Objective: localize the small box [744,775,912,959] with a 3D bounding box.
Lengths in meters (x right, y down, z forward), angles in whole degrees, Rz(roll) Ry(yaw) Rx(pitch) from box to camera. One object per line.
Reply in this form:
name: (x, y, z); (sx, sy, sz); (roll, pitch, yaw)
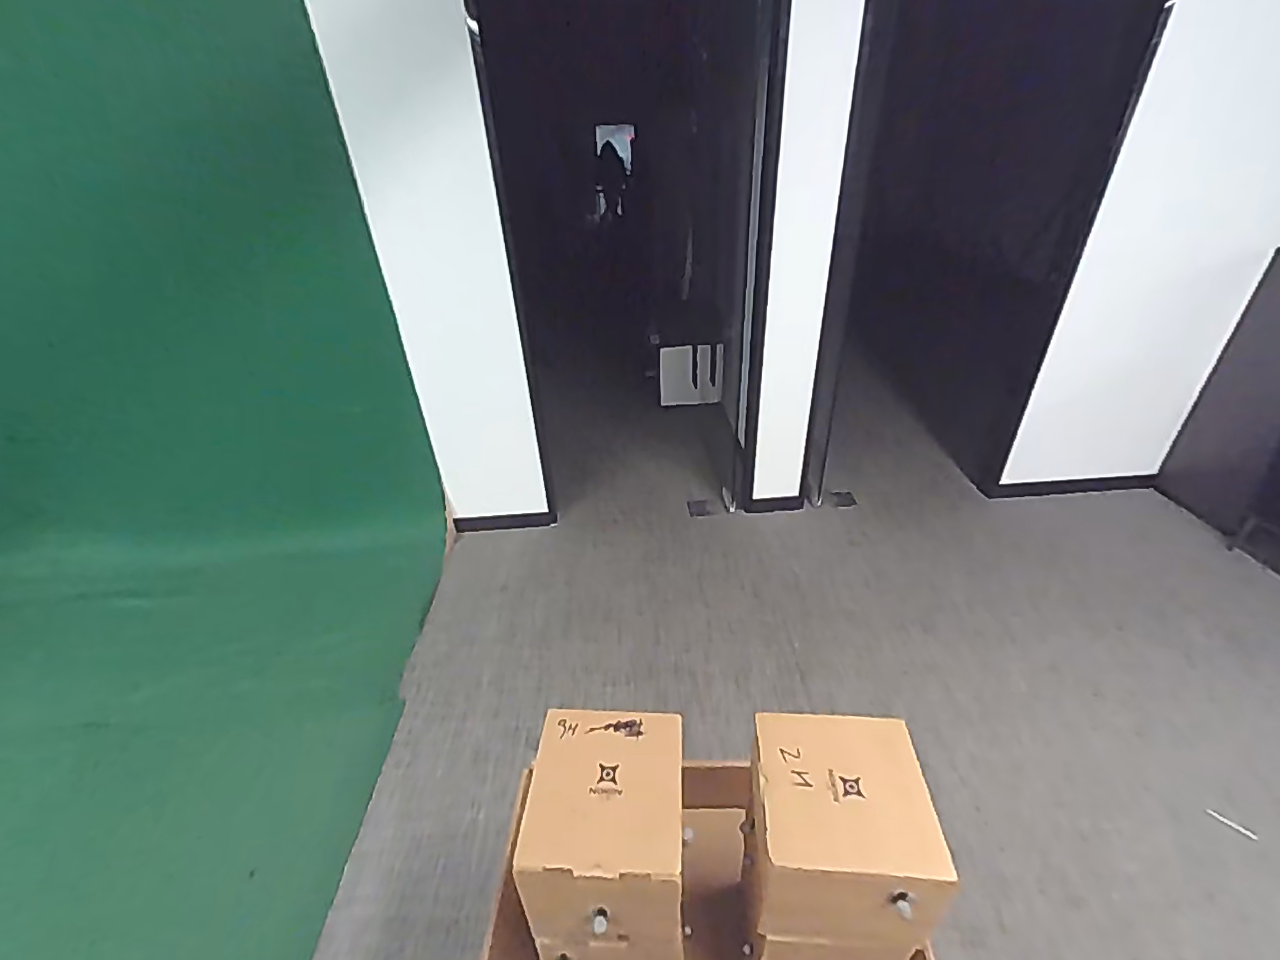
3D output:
small box: (0.229, 0.523, 0.712); (0.168, 0.176, 0.179); (-1, 34, 6)
